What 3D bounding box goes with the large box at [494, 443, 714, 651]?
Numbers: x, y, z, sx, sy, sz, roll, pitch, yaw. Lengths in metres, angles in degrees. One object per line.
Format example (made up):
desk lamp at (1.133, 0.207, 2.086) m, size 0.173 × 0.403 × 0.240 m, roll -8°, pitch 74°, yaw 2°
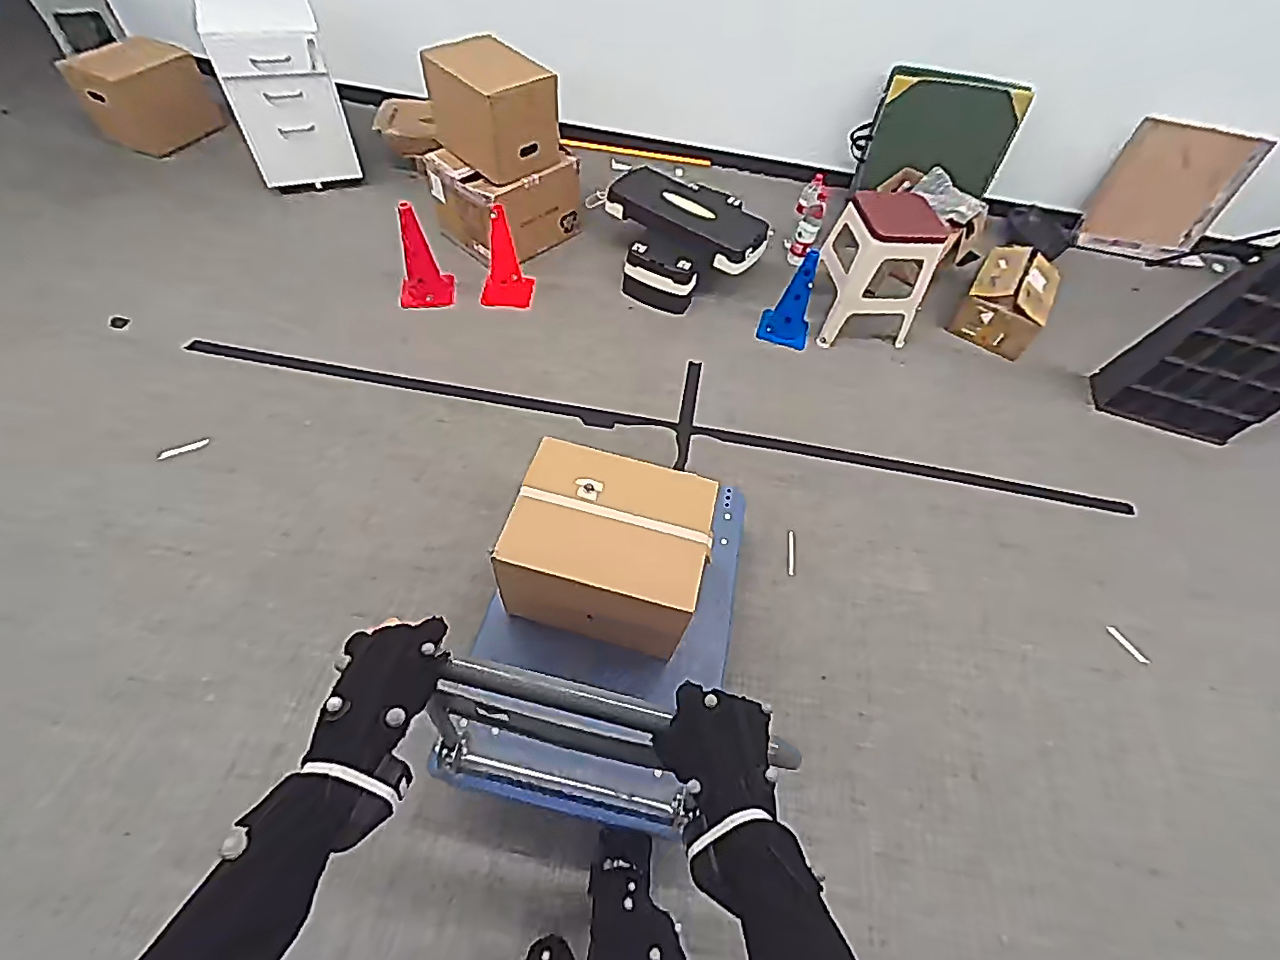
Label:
large box at (-0.071, 0.164, 1.250) m, size 0.408 × 0.320 × 0.320 m, roll 14°, pitch 56°, yaw 4°
